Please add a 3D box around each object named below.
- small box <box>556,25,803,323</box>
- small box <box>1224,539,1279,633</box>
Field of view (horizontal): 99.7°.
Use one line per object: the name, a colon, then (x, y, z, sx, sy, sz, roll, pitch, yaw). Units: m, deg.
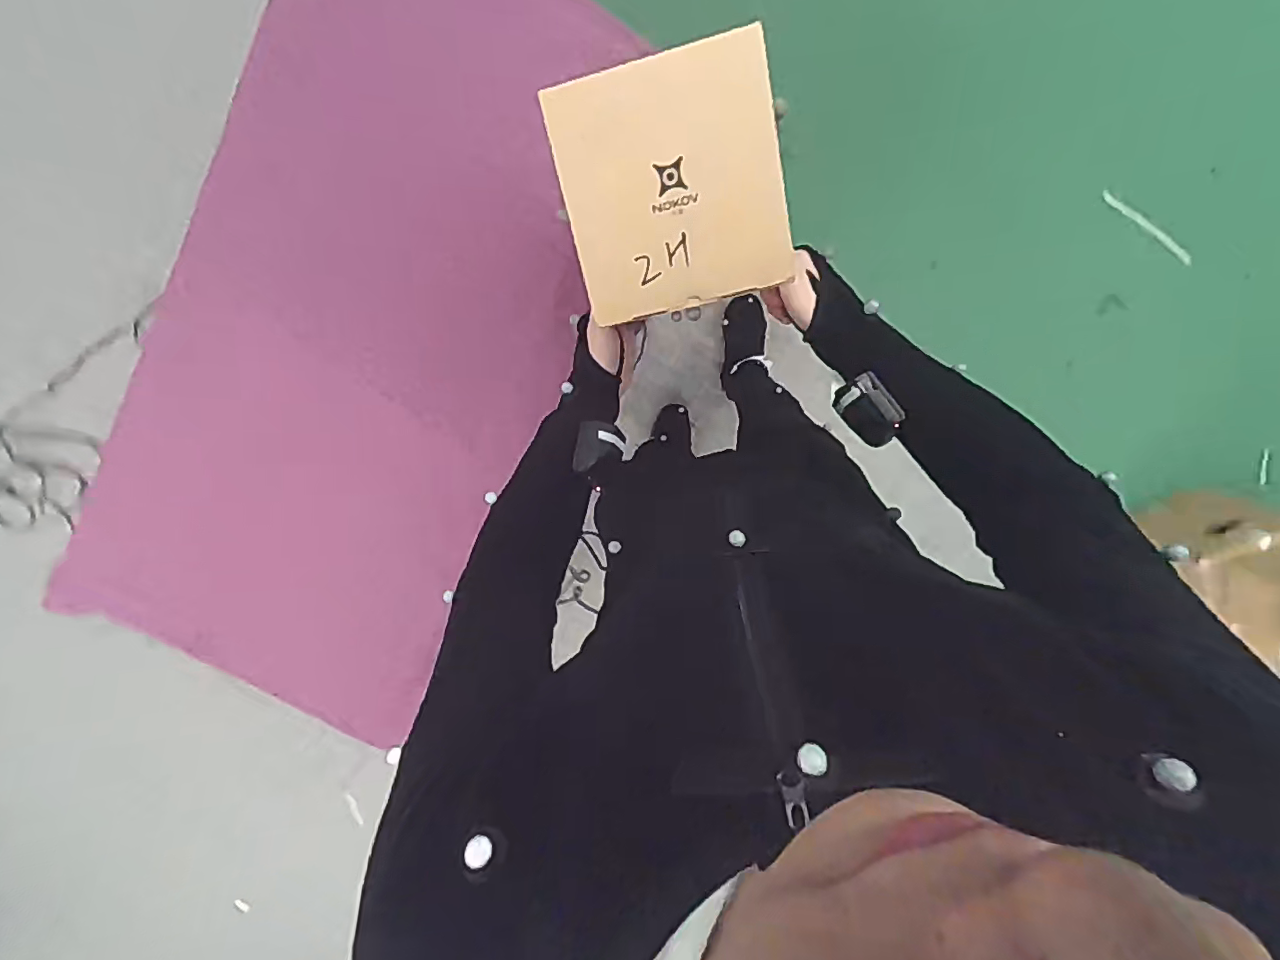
small box: (0.038, -0.245, 0.482, 0.168, 0.176, 0.179, -10, 108, 8)
small box: (1.527, 0.253, 1.260, 0.179, 0.176, 0.168, -19, 103, 4)
